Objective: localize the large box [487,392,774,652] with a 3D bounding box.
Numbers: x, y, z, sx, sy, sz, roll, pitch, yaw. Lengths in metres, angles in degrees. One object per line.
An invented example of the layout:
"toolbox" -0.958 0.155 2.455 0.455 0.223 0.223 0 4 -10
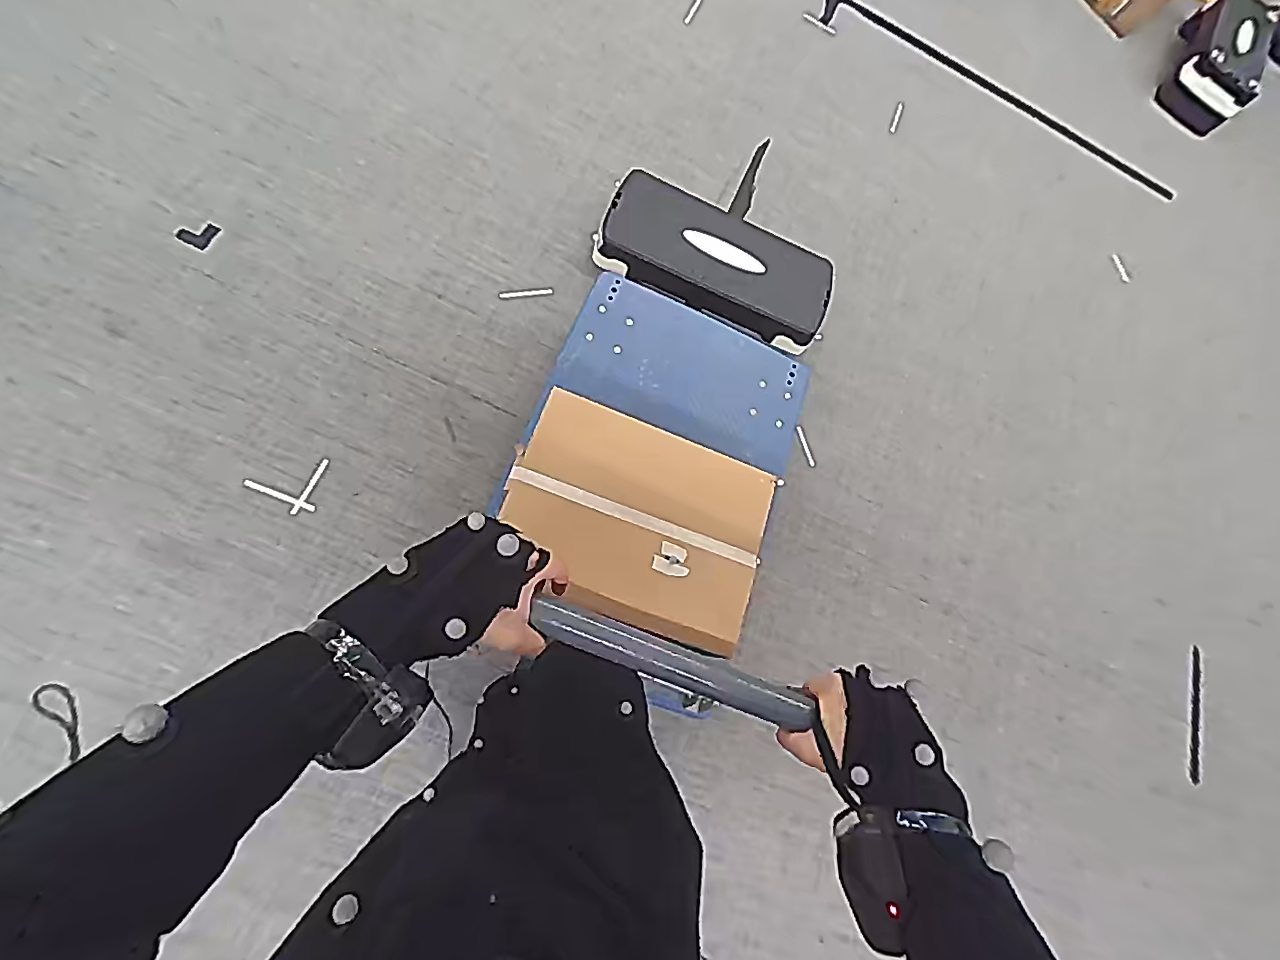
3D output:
"large box" -0.034 0.099 0.987 0.408 0.320 0.320 22 72 -8
